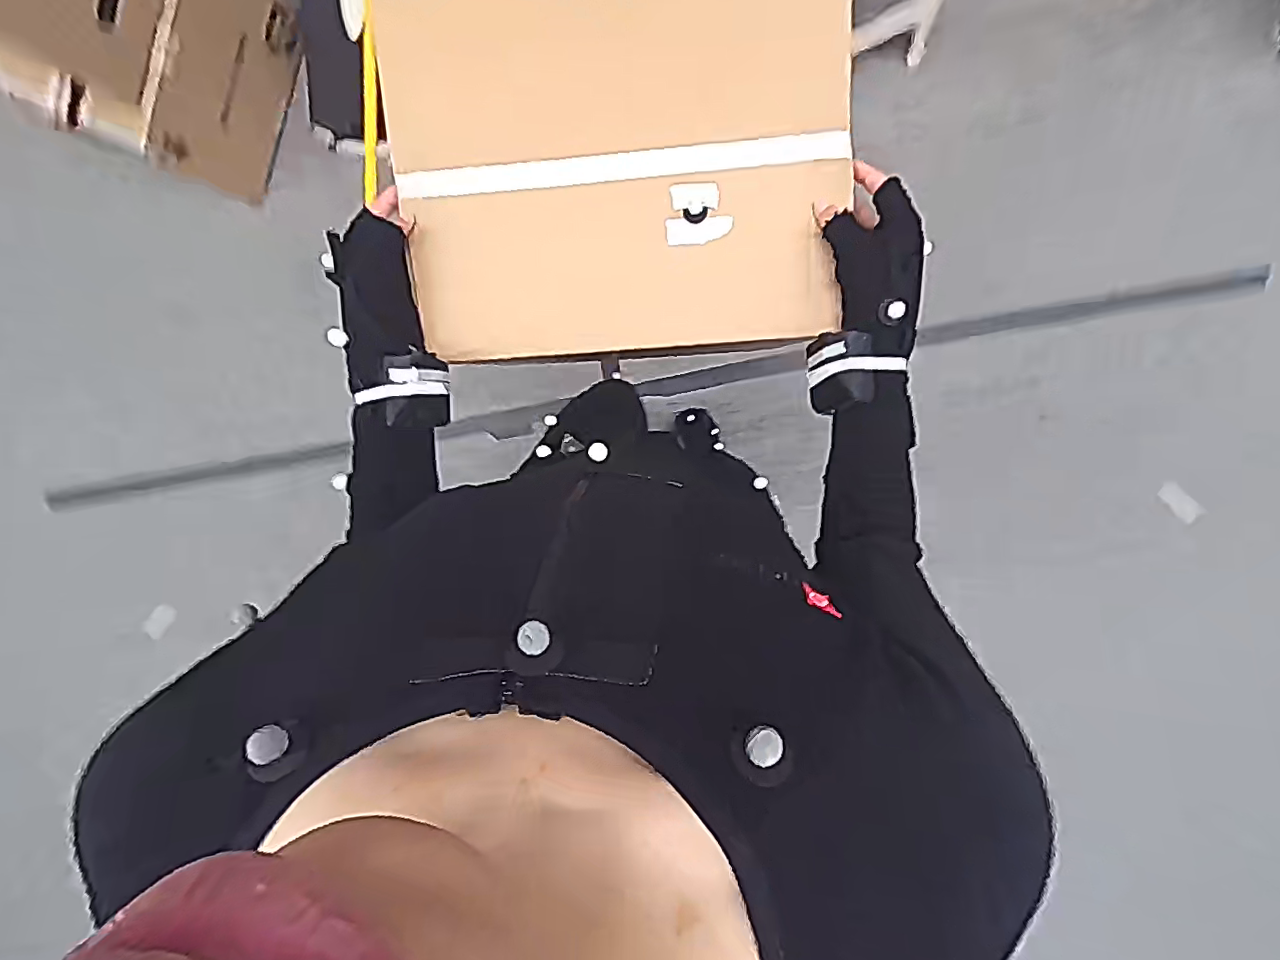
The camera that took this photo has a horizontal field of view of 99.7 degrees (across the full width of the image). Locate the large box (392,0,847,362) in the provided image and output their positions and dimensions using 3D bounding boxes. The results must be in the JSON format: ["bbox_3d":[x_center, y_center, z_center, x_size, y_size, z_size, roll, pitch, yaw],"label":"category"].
[{"bbox_3d":[-0.009,-0.313,0.639,0.408,0.320,0.320,-2,101,3],"label":"large box"}]
